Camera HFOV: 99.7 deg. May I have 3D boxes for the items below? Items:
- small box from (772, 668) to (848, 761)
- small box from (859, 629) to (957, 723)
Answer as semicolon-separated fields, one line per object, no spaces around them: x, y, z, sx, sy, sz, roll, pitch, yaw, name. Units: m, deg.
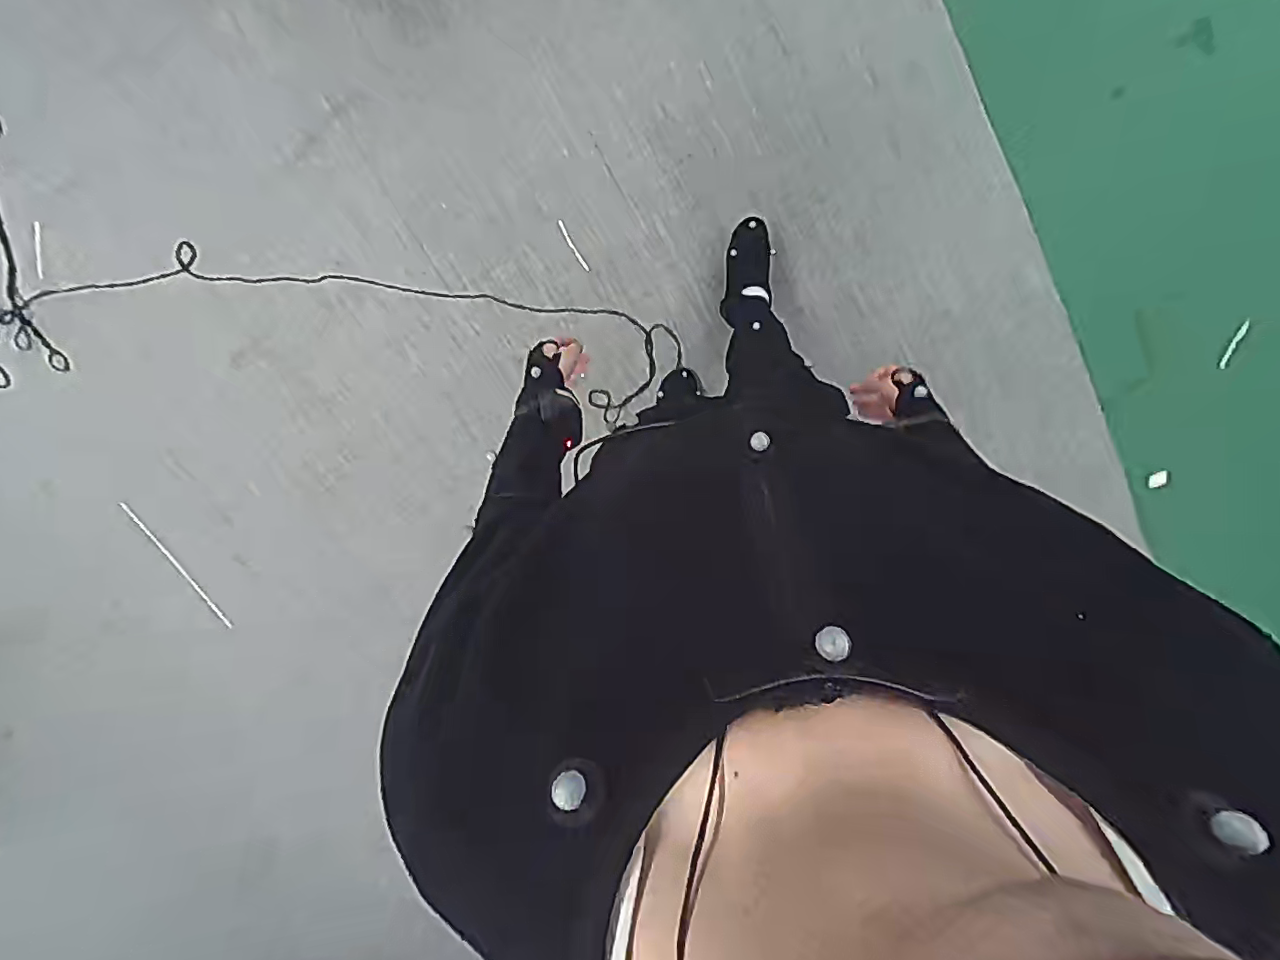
0.490;0.678;1.574;0.168;0.176;0.179;-10;105;4;small box
0.752;0.541;1.535;0.168;0.176;0.179;-27;103;9;small box
